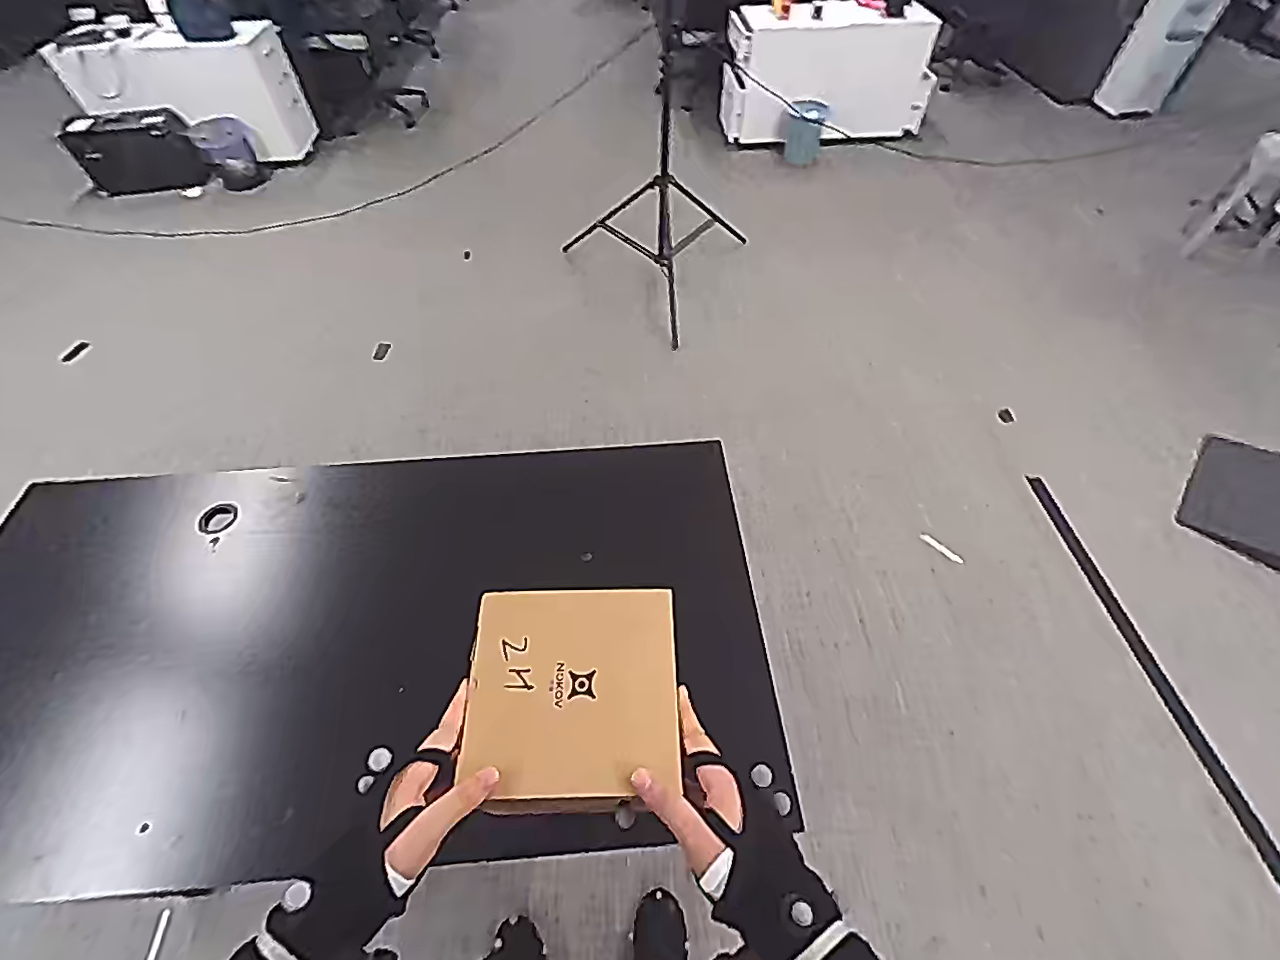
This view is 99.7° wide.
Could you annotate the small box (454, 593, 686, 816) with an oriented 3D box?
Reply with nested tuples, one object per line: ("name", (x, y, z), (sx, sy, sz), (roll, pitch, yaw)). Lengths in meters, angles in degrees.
("small box", (-0.054, 0.217, 0.515), (0.179, 0.176, 0.168), (-1, 55, 0))
